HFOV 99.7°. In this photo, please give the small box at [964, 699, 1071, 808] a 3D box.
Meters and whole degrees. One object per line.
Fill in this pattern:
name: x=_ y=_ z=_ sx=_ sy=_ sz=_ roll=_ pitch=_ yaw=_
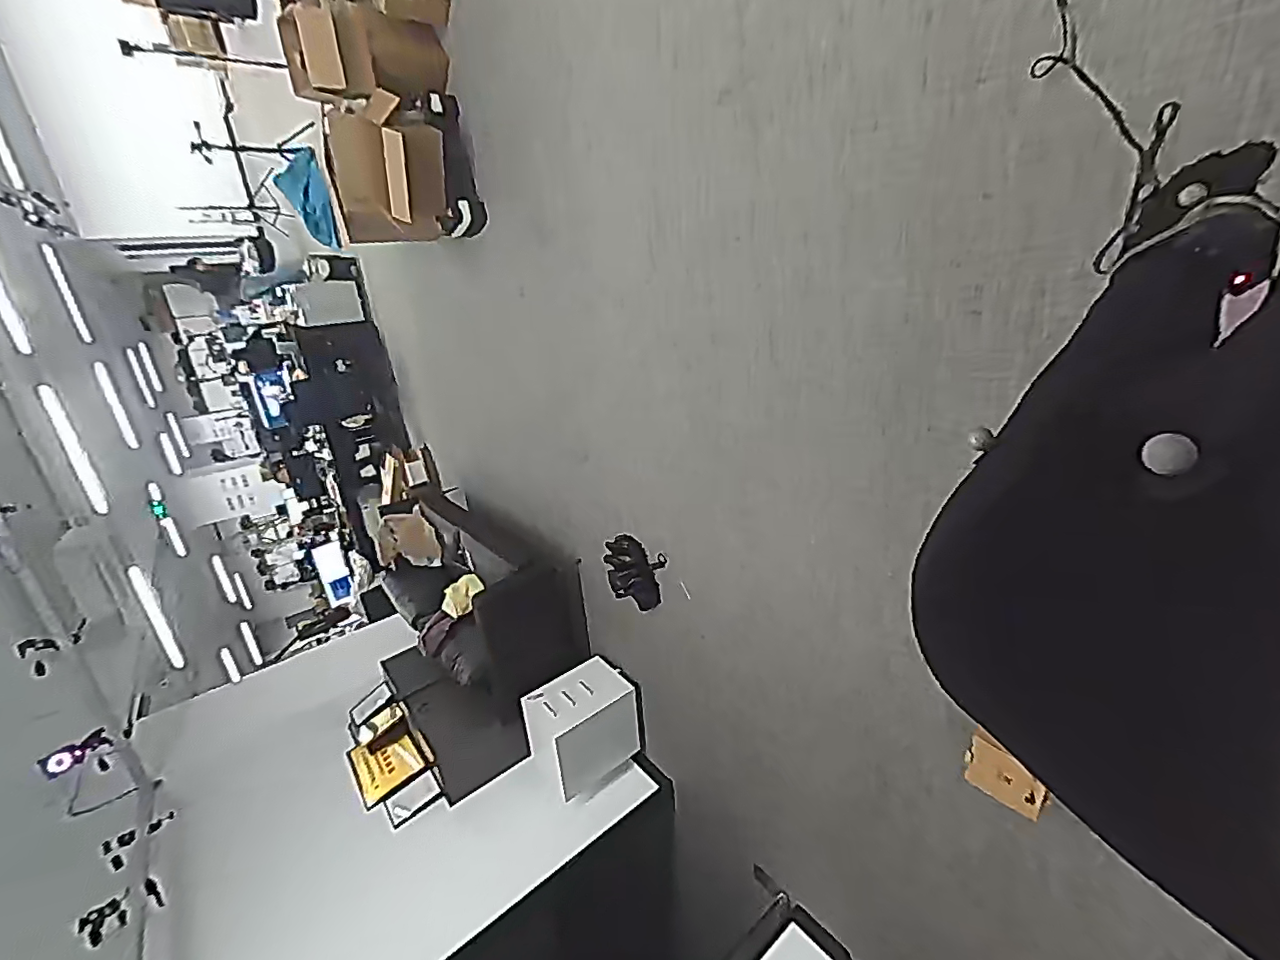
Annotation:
small box: x=1.025 y=0.729 z=1.471 sx=0.179 sy=0.176 sz=0.168 roll=25 pitch=127 yaw=48
